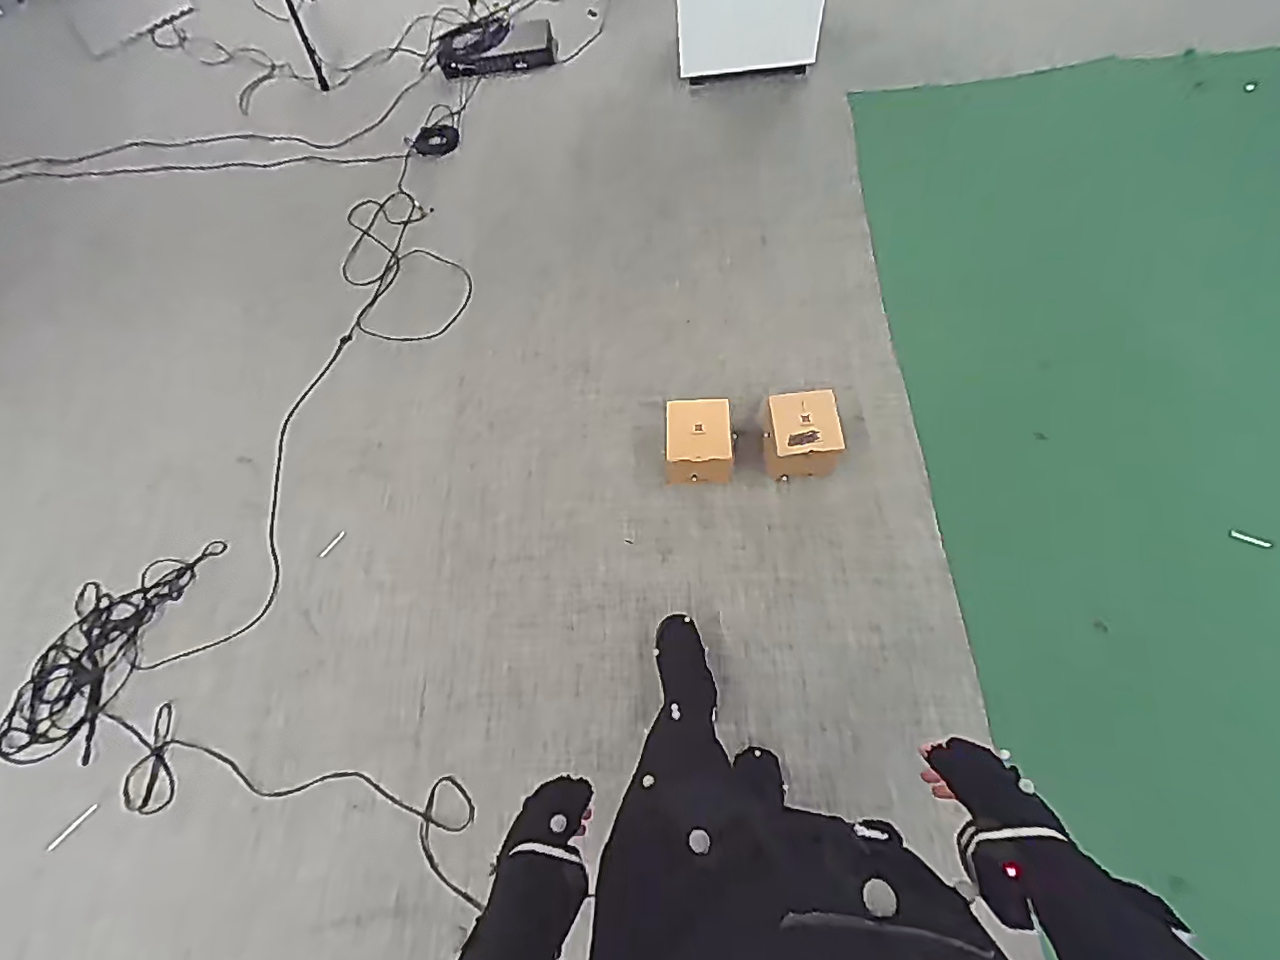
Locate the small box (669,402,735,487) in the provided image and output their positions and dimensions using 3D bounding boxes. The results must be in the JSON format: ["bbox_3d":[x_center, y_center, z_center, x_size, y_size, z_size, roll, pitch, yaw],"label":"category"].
[{"bbox_3d":[0.165,-0.092,1.461,0.168,0.176,0.179,-2,68,6],"label":"small box"}]

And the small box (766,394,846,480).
[{"bbox_3d":[0.432,-0.106,1.434,0.168,0.176,0.179,-5,67,5],"label":"small box"}]
